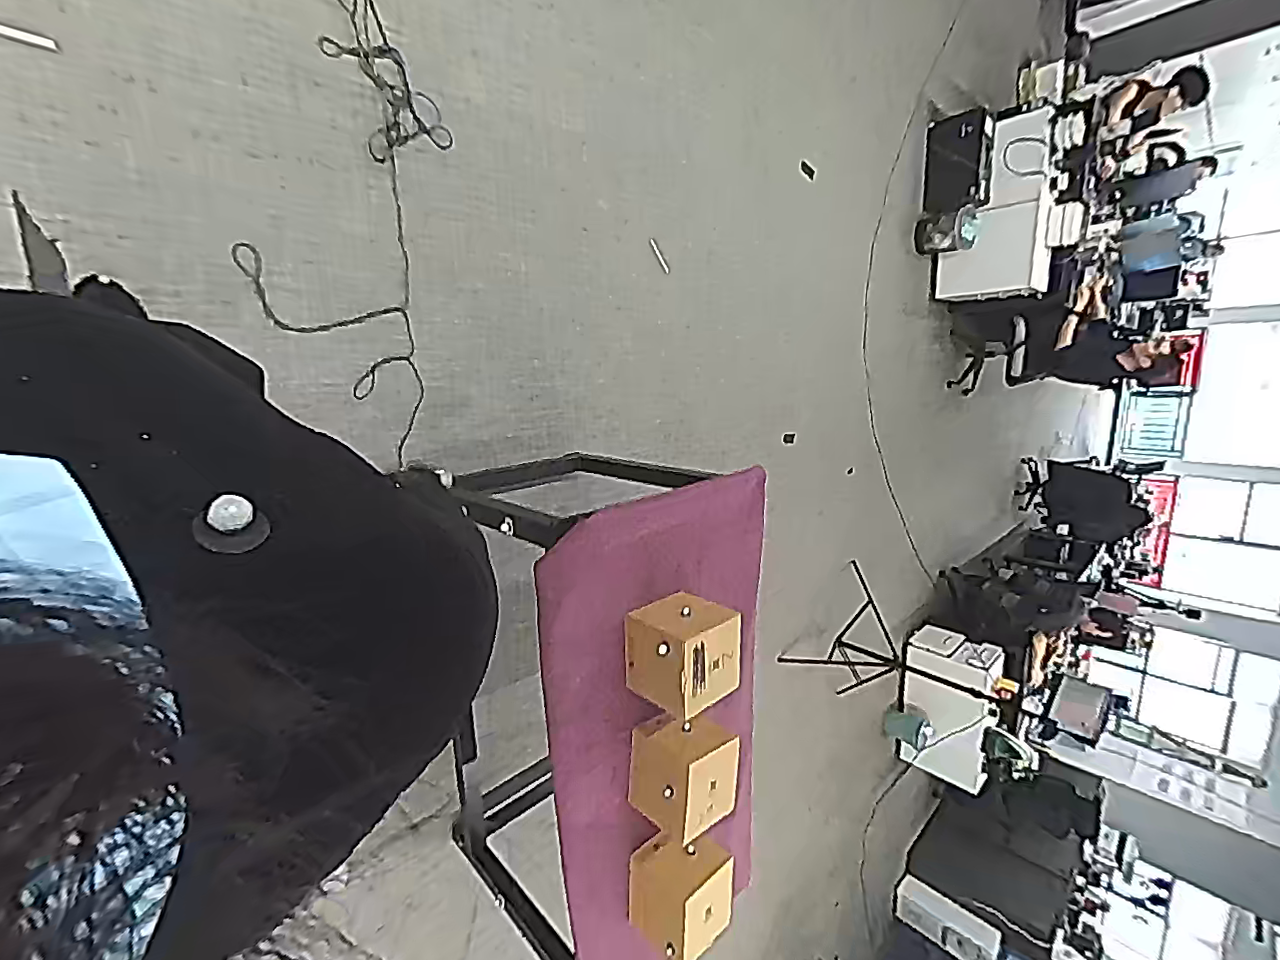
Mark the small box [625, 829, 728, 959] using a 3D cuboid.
[{"bbox_3d":[0.080,0.923,1.216,0.168,0.176,0.179,-7,102,-44],"label":"small box"}]

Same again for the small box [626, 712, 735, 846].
[{"bbox_3d":[0.084,0.627,1.169,0.168,0.176,0.179,-1,98,-43],"label":"small box"}]
